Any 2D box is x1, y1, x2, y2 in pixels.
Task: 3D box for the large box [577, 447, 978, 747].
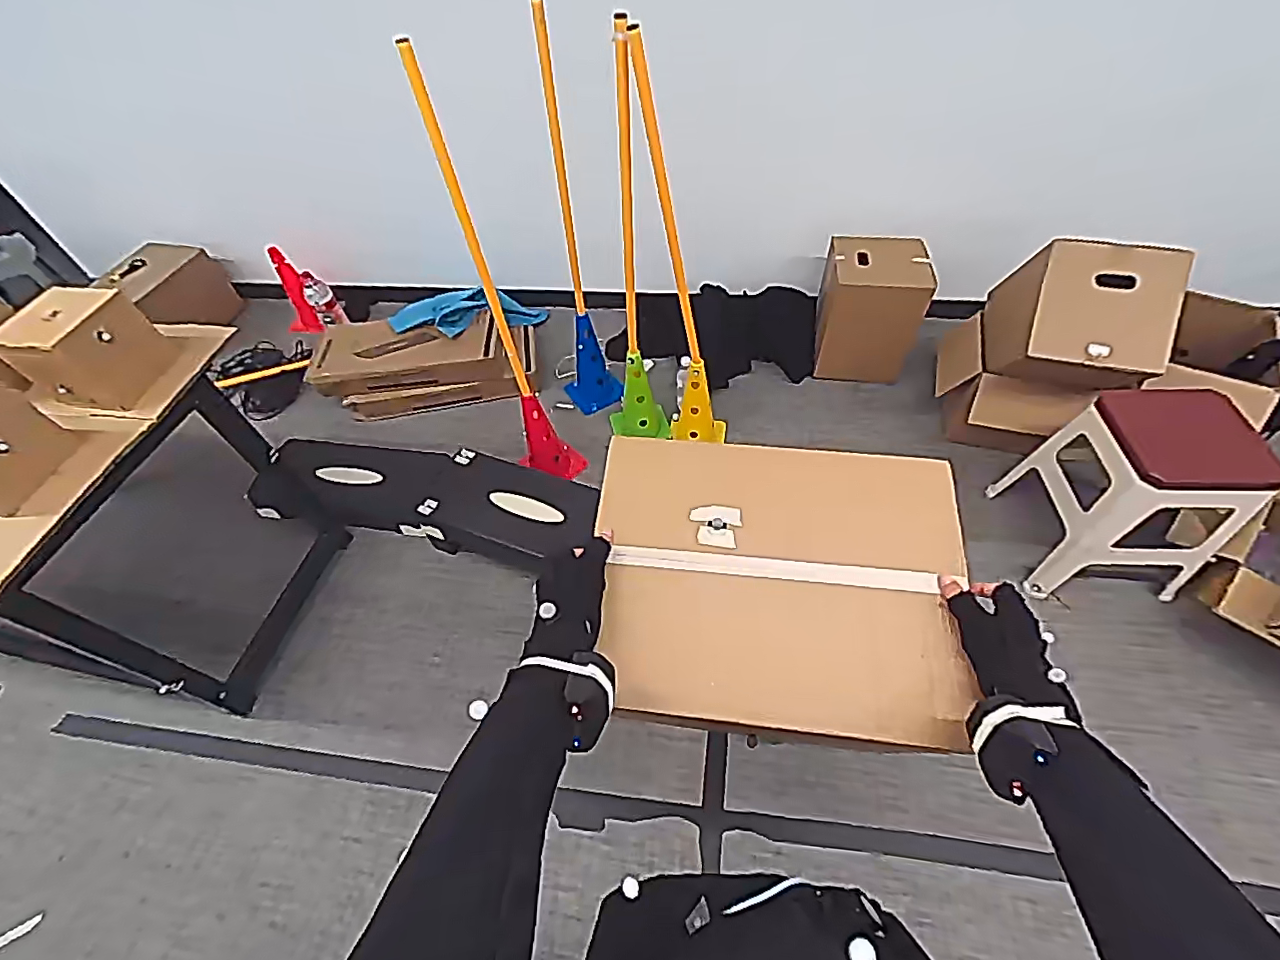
[{"bbox_3d":[0.158,0.171,0.736,0.408,0.320,0.320,4,63,7],"label":"large box"}]
